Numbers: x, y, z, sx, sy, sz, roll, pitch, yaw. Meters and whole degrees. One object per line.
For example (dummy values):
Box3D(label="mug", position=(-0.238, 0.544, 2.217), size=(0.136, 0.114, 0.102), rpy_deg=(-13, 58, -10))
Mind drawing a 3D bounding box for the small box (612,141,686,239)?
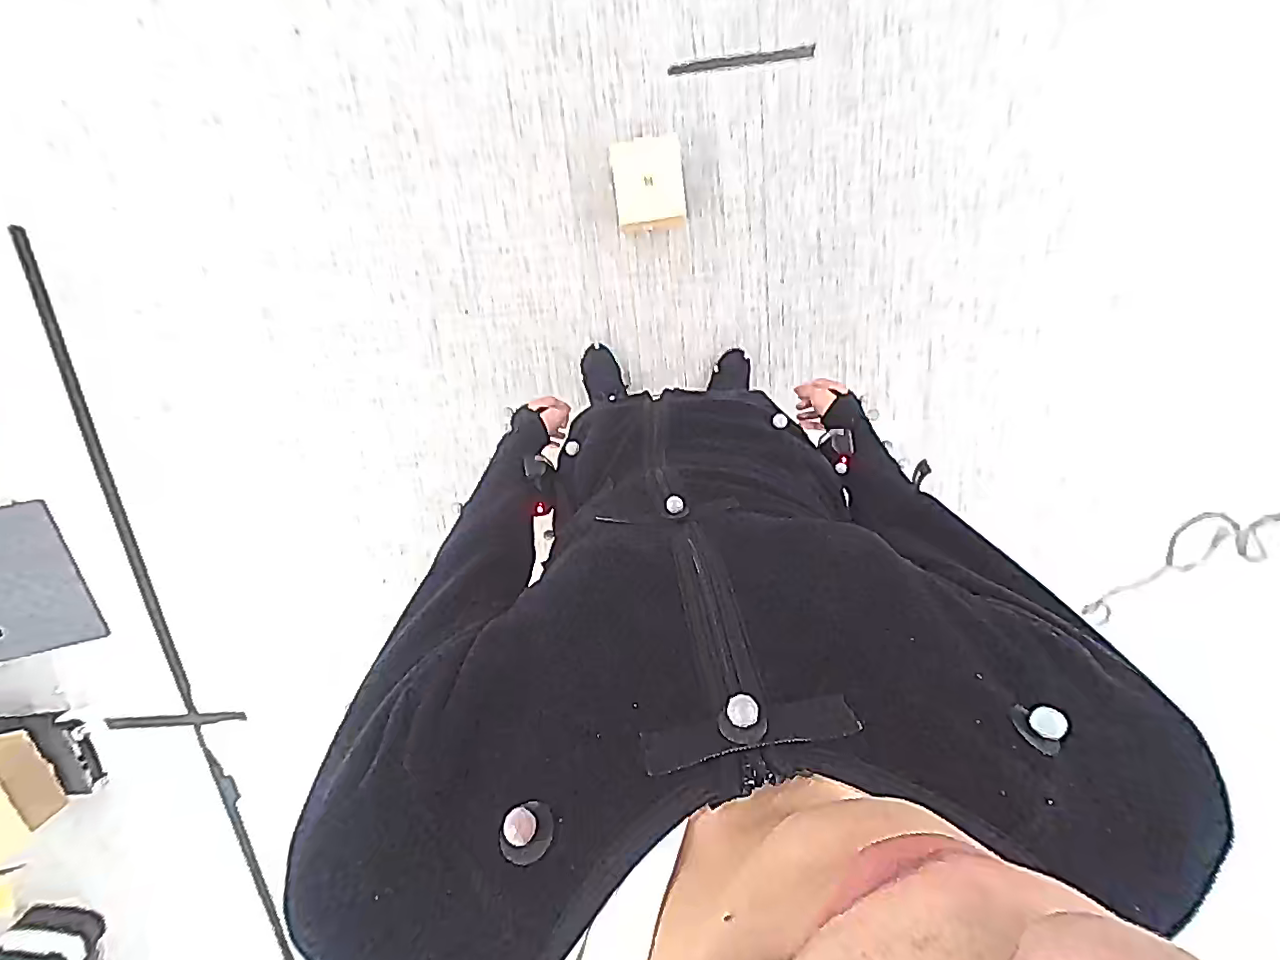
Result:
Box3D(label="small box", position=(0.023, -0.729, 1.375), size=(0.168, 0.176, 0.179), rpy_deg=(-7, 105, 3))
